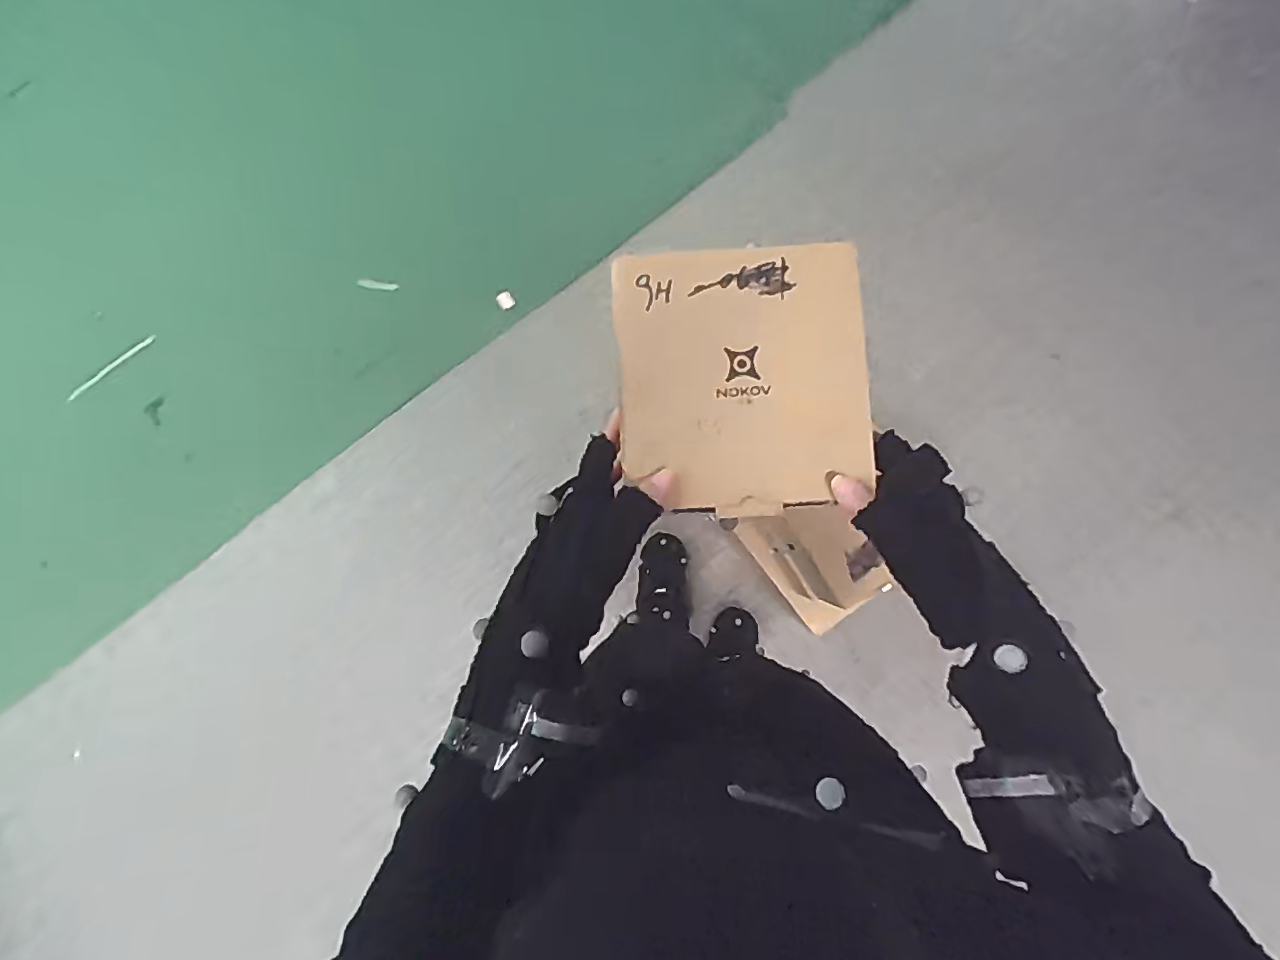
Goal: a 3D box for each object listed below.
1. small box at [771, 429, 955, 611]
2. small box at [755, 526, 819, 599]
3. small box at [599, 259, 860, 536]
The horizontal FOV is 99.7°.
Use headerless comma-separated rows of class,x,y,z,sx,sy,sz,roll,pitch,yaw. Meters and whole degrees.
small box,0.283,0.058,0.750,0.168,0.176,0.179,-31,78,3
small box,0.299,0.080,0.912,0.168,0.176,0.179,-31,81,3
small box,0.060,-0.054,0.437,0.168,0.176,0.179,-4,89,0
